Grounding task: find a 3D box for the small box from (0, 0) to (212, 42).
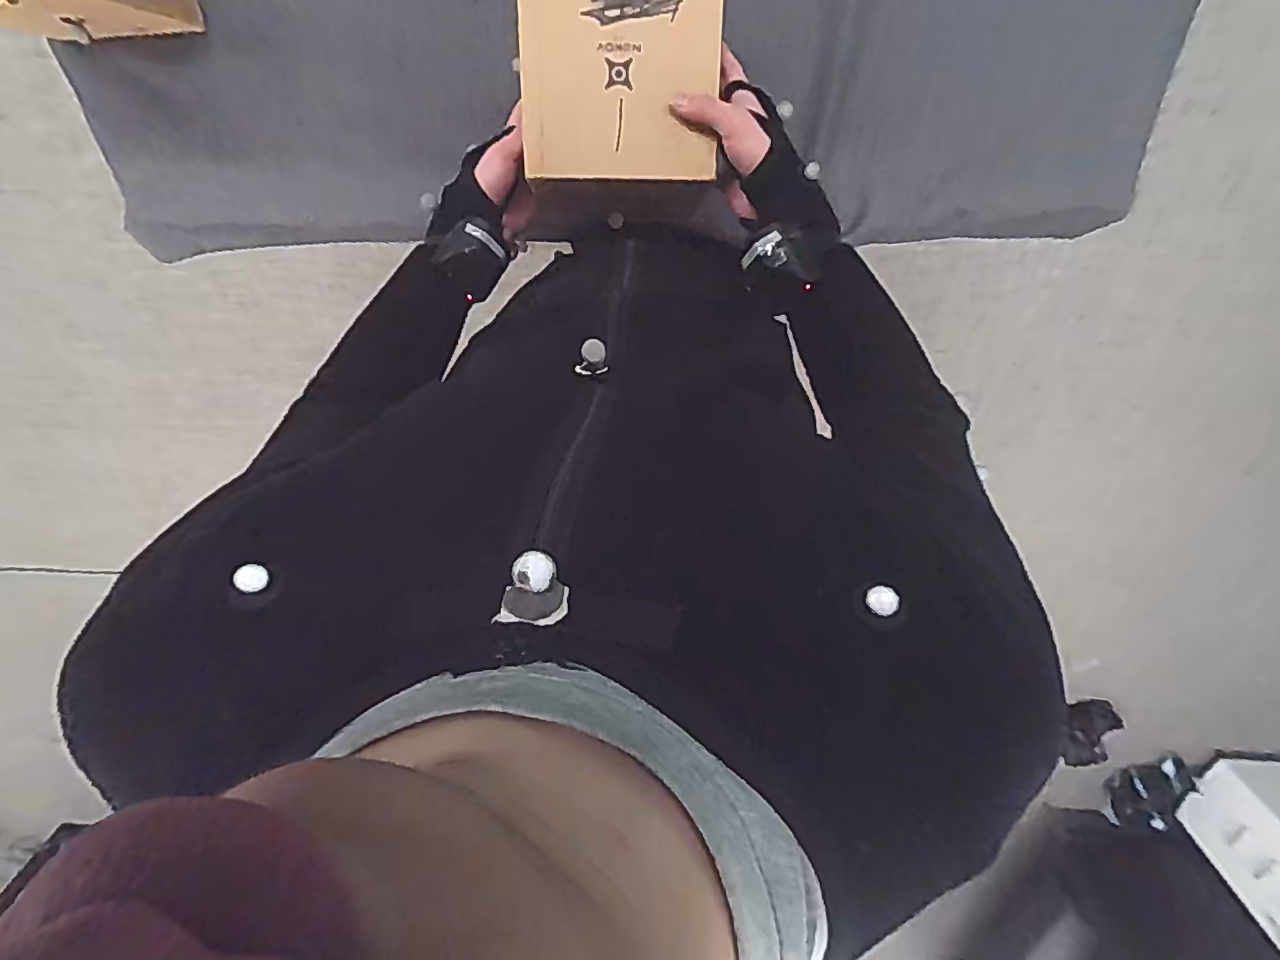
[{"bbox_3d":[-0.544,-0.512,0.483,0.168,0.176,0.179,-2,122,2],"label":"small box"}]
